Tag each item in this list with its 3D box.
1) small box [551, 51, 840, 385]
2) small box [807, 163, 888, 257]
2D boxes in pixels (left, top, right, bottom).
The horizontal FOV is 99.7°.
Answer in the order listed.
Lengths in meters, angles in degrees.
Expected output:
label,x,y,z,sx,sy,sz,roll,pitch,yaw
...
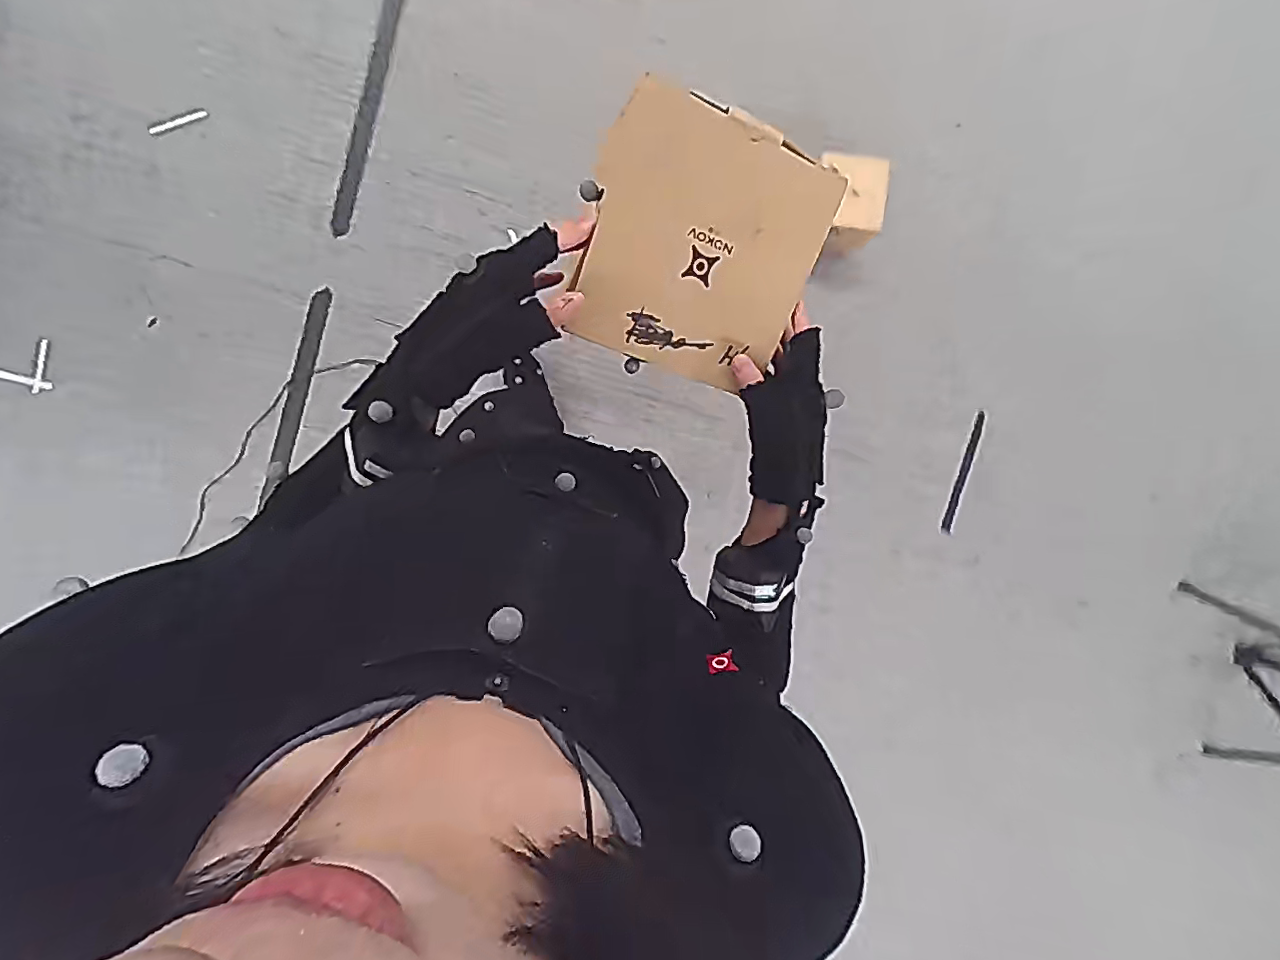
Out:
label,x,y,z,sx,sy,sz,roll,pitch,yaw
small box,0.027,-0.201,0.461,0.168,0.176,0.179,15,105,-18
small box,0.507,-0.693,1.400,0.179,0.176,0.168,5,96,-6
